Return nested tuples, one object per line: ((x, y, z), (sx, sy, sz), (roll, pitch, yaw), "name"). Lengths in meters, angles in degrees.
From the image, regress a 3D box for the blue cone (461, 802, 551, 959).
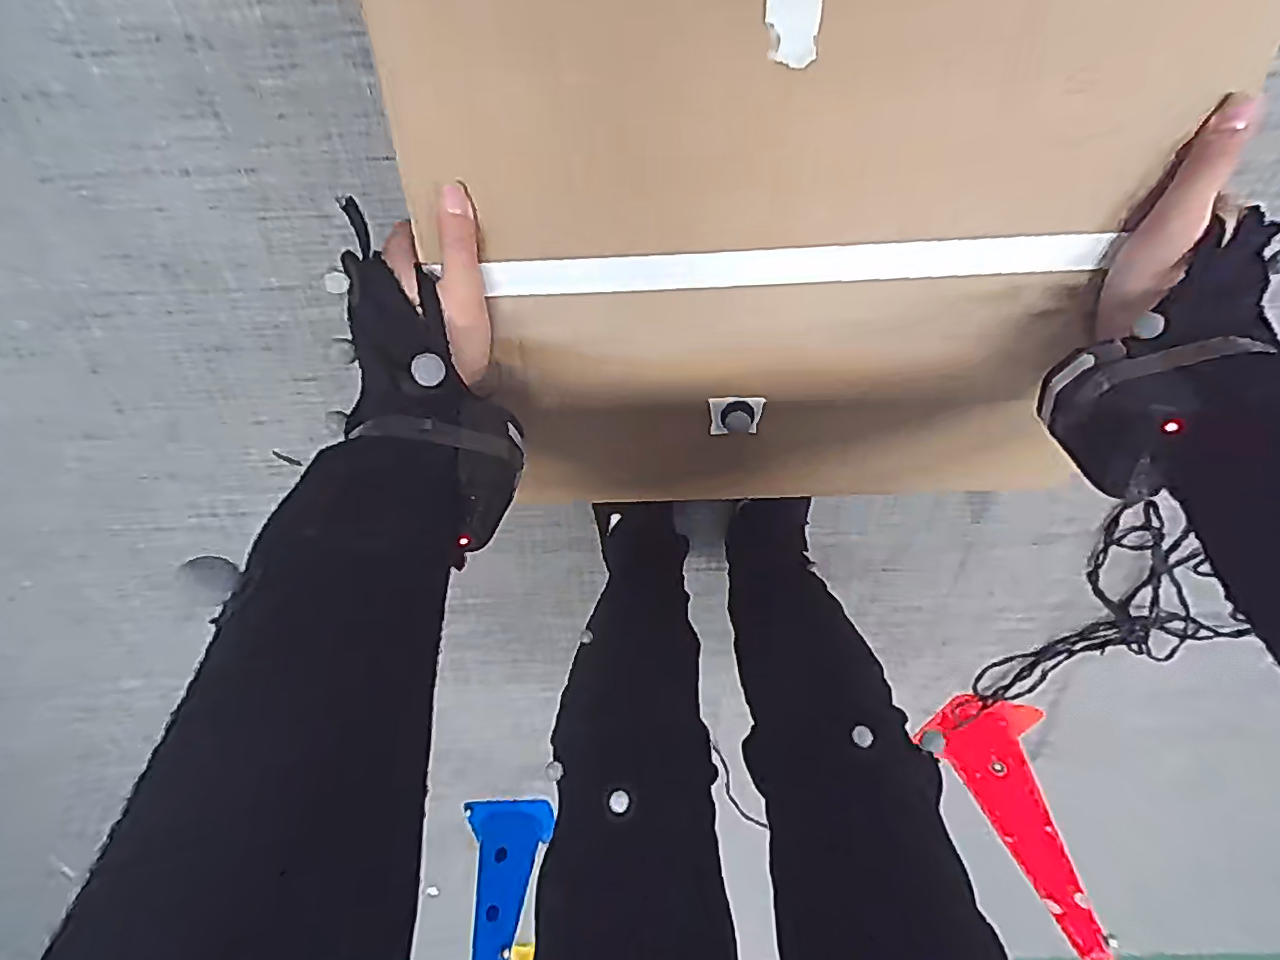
((-0.306, 0.891, 1.116), (0.192, 0.380, 0.193), (-1, 122, 1), "blue cone")

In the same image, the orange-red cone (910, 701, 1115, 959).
((0.654, 0.590, 0.904), (0.199, 0.360, 0.198), (15, 123, -11), "orange-red cone")
